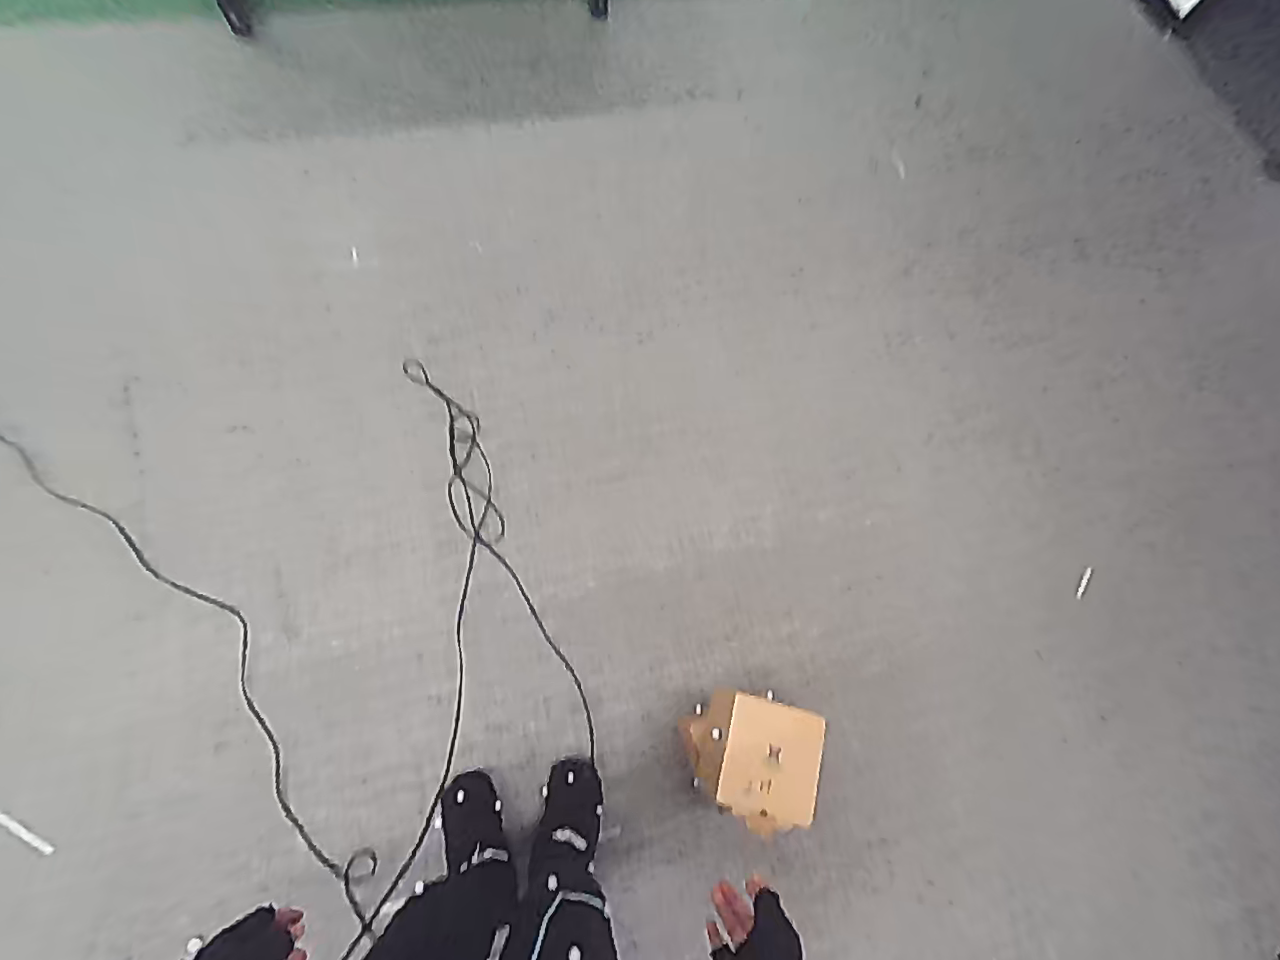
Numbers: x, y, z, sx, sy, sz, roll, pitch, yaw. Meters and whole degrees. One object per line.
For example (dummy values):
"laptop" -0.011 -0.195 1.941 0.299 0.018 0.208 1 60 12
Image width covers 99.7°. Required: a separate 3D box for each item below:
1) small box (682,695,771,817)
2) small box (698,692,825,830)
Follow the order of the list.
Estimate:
"small box" 0.195 0.559 1.119 0.179 0.176 0.168 -17 75 -12
"small box" 0.214 0.497 0.986 0.168 0.176 0.179 16 71 -1
